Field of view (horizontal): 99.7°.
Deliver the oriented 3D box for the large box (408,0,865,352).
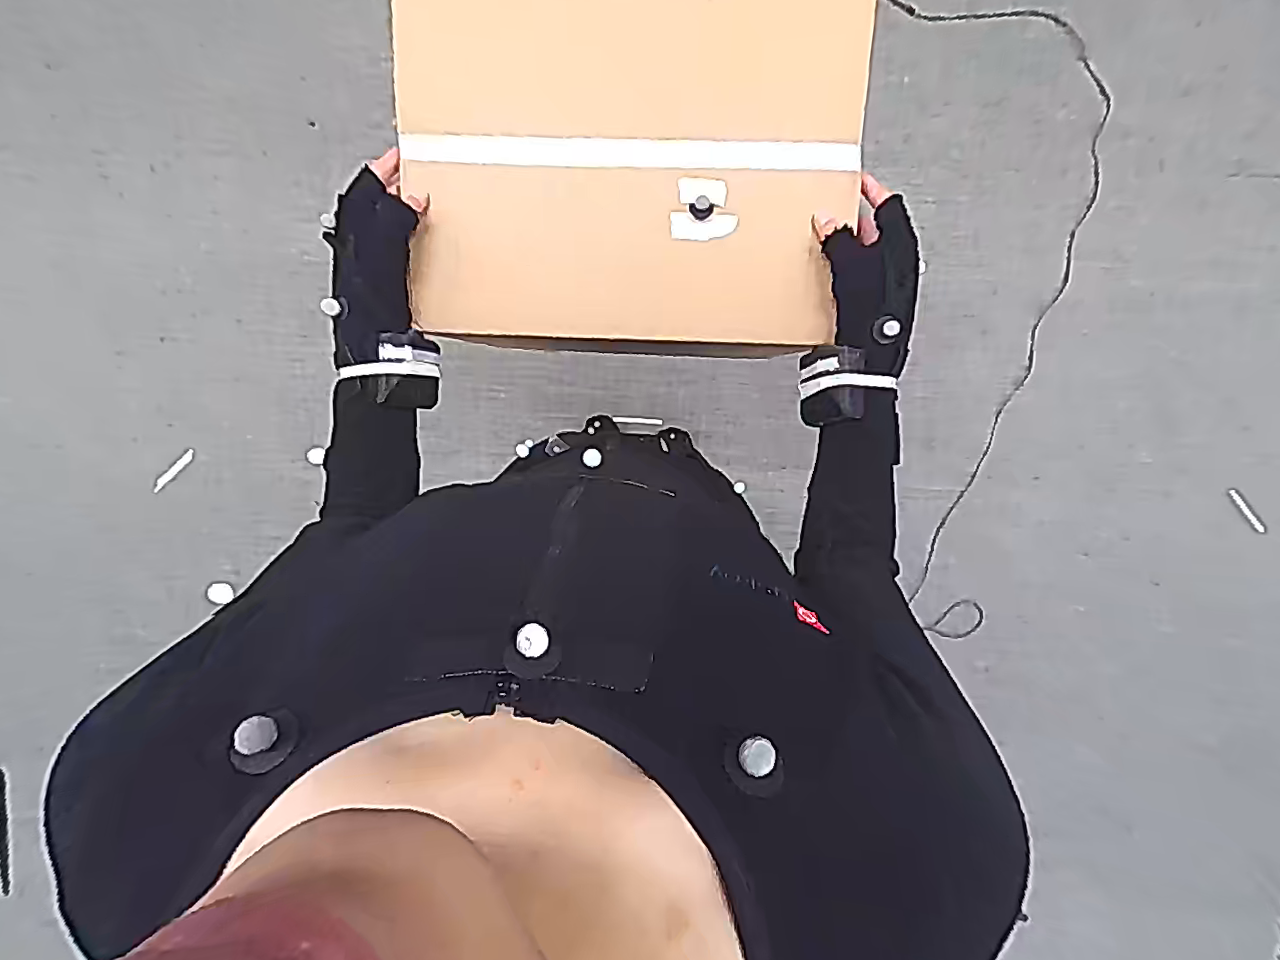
[{"bbox_3d":[-0.007,-0.322,0.634,0.408,0.320,0.320,3,101,1],"label":"large box"}]
